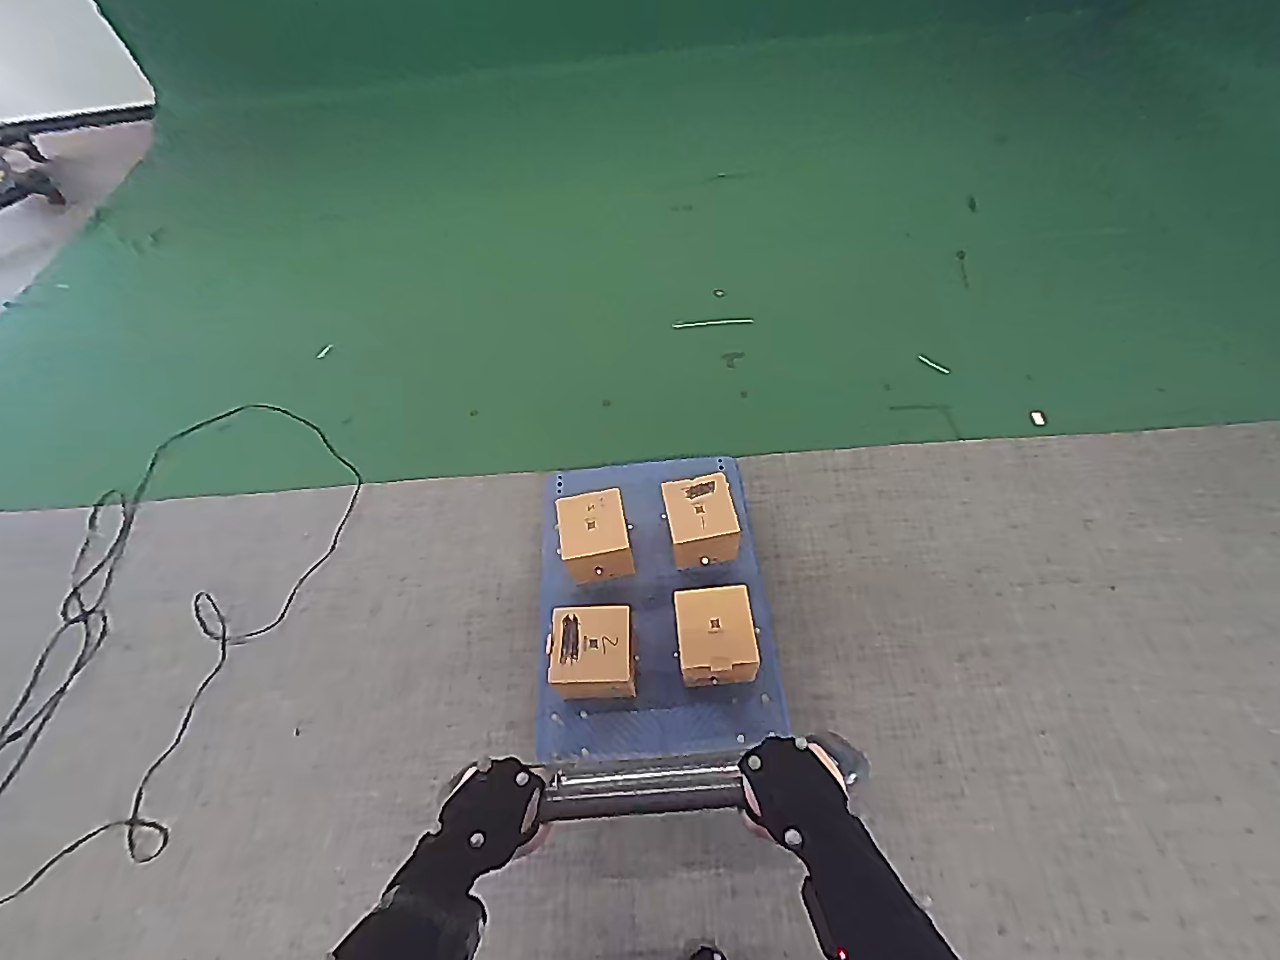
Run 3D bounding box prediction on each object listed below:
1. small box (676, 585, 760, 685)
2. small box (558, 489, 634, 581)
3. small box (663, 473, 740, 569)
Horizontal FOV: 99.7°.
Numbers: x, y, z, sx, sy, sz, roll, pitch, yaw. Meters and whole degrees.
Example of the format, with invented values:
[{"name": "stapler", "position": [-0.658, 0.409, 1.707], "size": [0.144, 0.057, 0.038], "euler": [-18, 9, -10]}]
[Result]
[{"name": "small box", "position": [0.172, 0.360, 1.246], "size": [0.168, 0.176, 0.179], "euler": [-6, 58, 2]}, {"name": "small box", "position": [-0.112, 0.150, 1.403], "size": [0.168, 0.176, 0.179], "euler": [-10, 58, -2]}, {"name": "small box", "position": [0.155, 0.109, 1.403], "size": [0.168, 0.176, 0.179], "euler": [-10, 59, -1]}]
